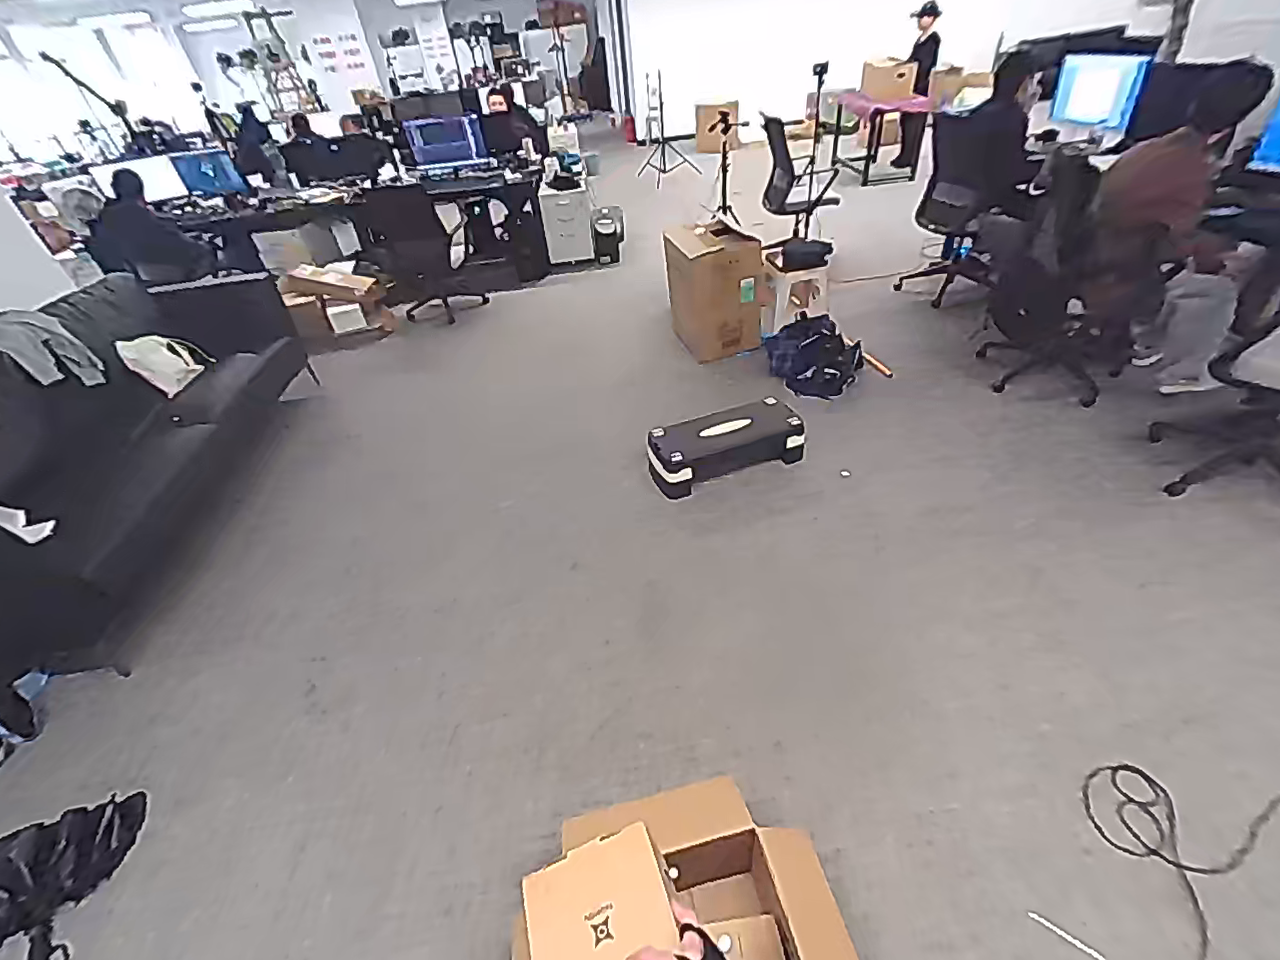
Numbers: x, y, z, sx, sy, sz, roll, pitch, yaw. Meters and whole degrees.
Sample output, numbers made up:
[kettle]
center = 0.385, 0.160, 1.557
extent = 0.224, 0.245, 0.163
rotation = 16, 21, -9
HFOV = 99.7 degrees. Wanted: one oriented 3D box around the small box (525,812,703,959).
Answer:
[small box]
center = -0.024, 0.558, 0.658
extent = 0.168, 0.176, 0.179
rotation = -22, 36, -8
